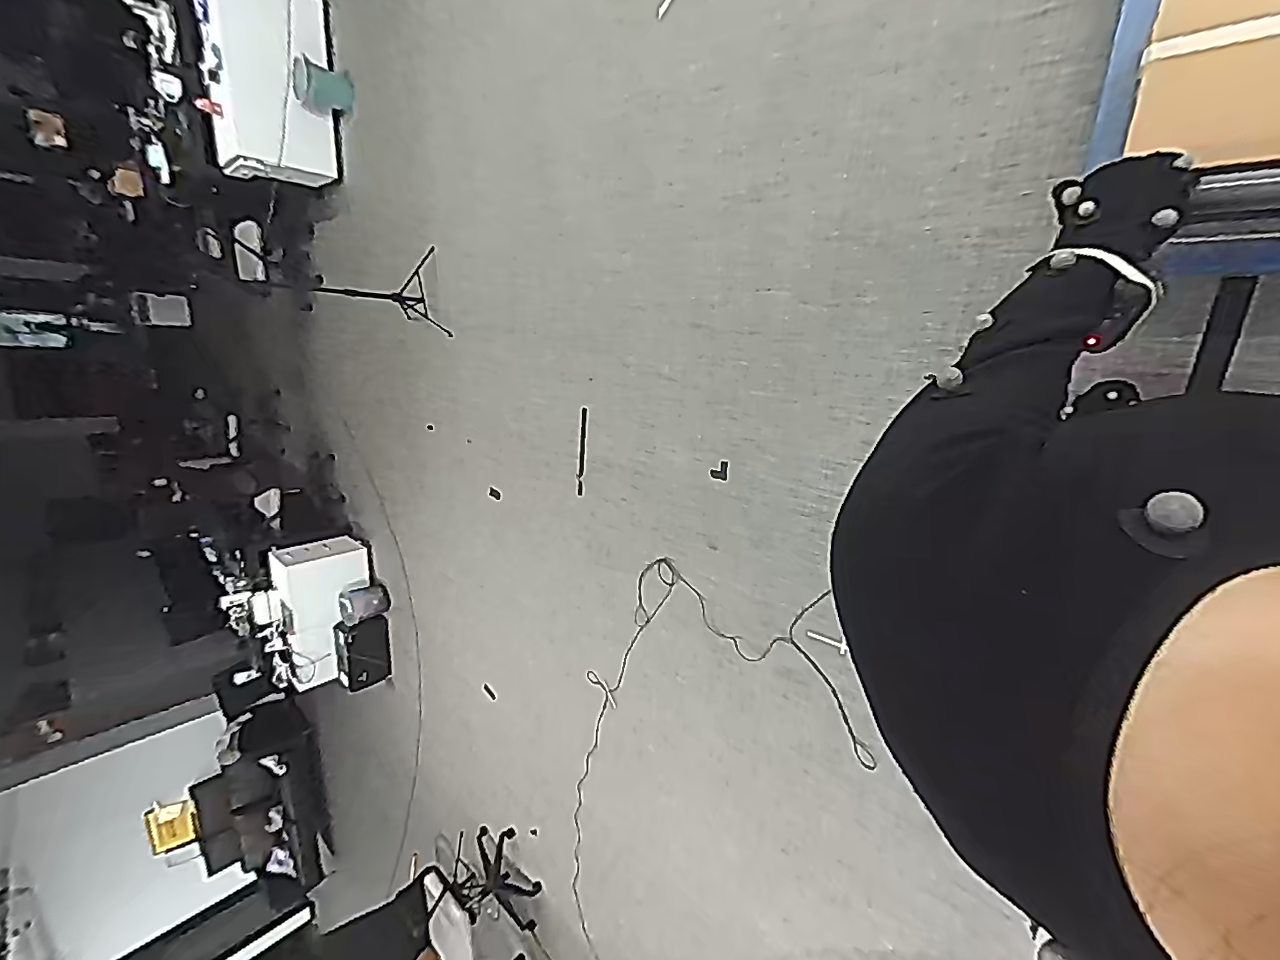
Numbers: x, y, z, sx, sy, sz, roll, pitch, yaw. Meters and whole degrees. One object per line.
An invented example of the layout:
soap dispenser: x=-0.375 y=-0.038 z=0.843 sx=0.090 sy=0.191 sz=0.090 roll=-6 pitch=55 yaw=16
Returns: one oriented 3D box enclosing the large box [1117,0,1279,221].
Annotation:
large box: x=0.945 y=-0.567 z=0.737 sx=0.408 sy=0.320 sz=0.320 roll=15 pitch=109 yaw=38
